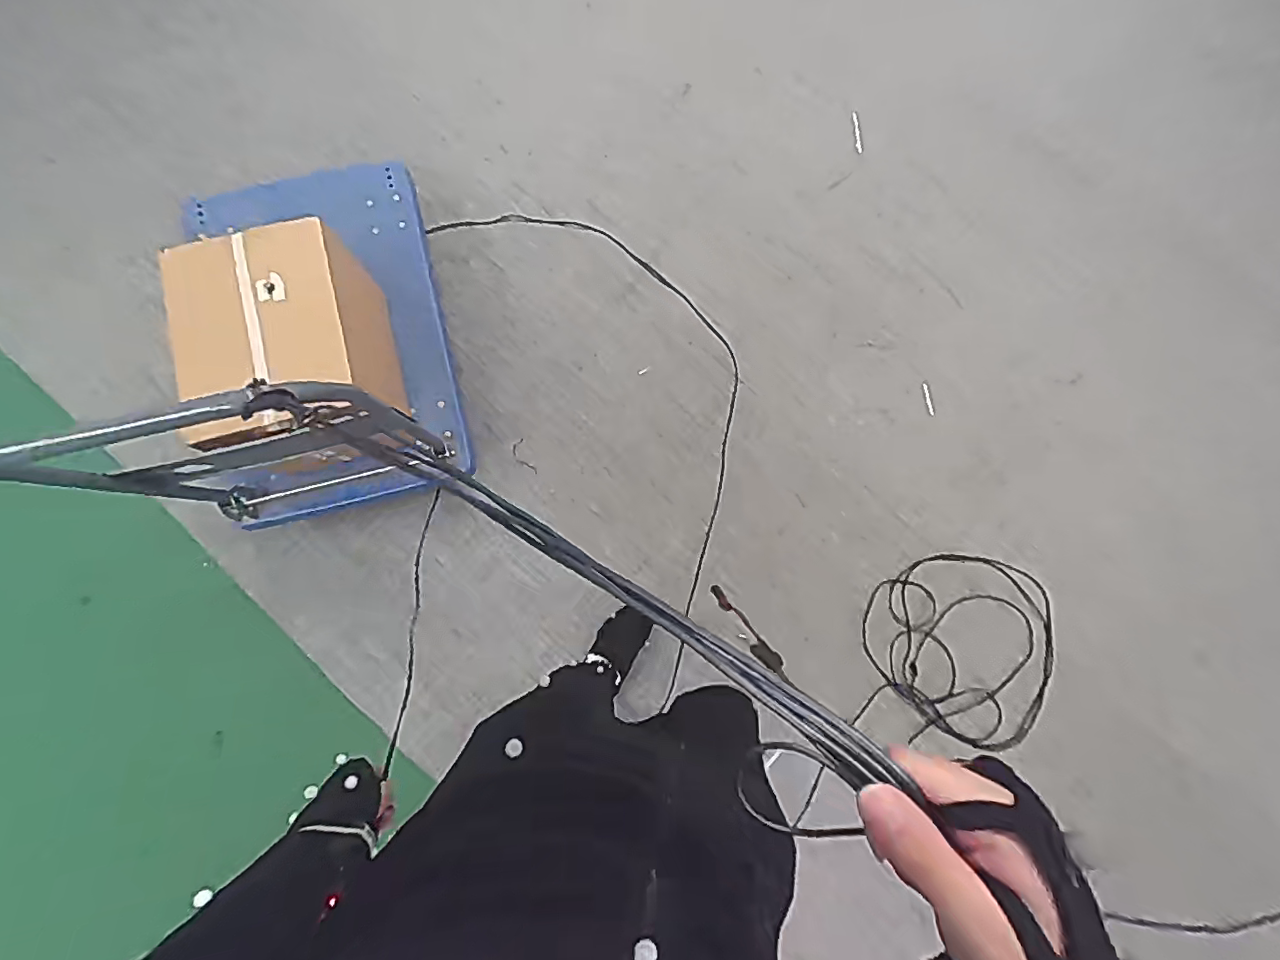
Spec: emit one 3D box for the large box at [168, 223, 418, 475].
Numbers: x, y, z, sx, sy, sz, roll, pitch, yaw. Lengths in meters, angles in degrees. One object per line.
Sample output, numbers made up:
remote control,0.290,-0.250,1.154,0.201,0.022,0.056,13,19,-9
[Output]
large box,-0.731,-0.263,1.186,0.320,0.320,0.408,-15,80,-5
